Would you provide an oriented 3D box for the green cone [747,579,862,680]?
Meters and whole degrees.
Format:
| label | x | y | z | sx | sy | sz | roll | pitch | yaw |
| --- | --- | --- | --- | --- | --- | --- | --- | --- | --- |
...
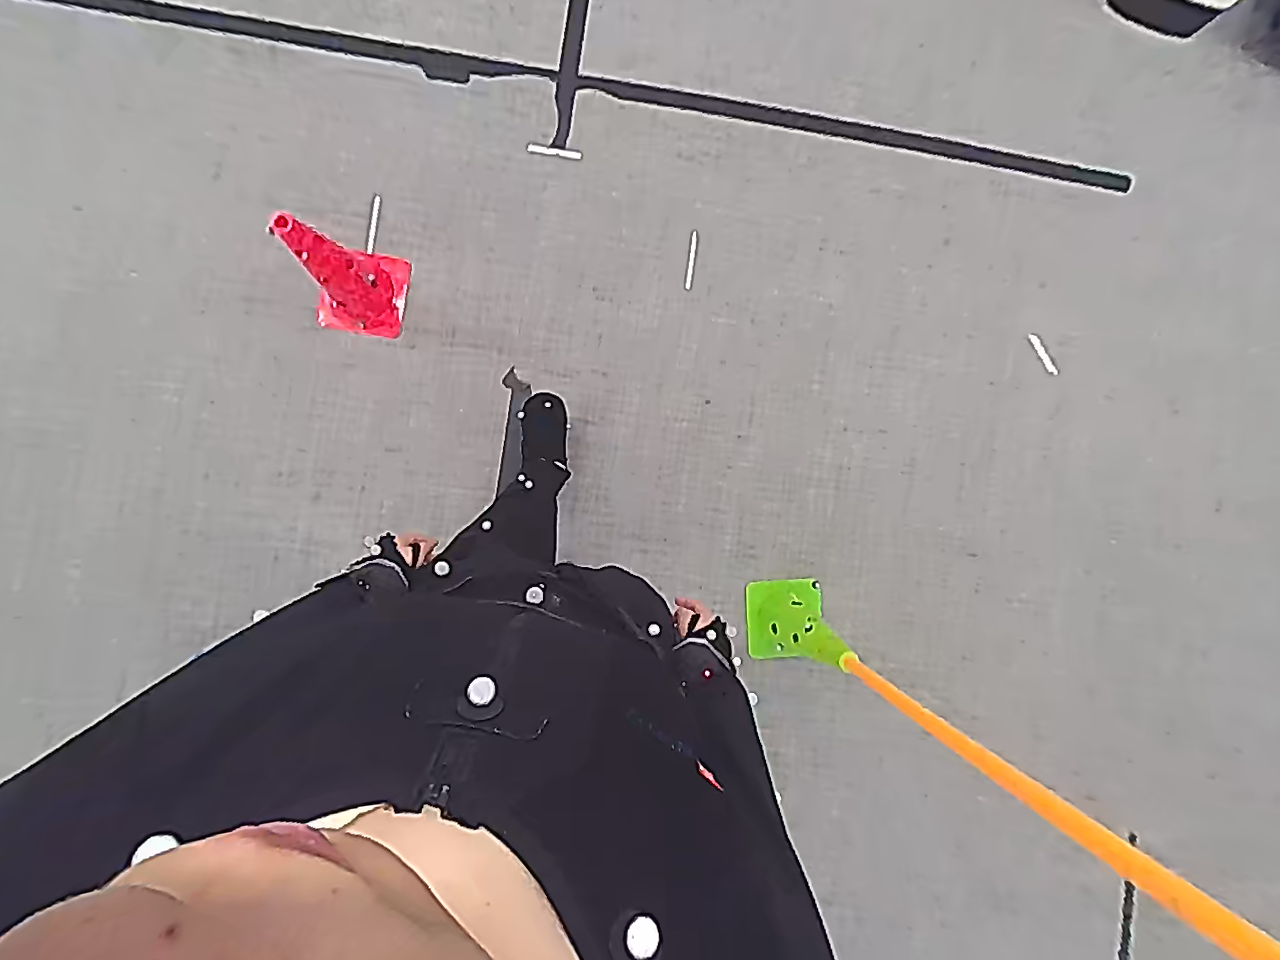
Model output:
| label | x | y | z | sx | sy | sz | roll | pitch | yaw |
| --- | --- | --- | --- | --- | --- | --- | --- | --- | --- |
| green cone | 0.393 | 0.363 | 1.228 | 0.200 | 0.368 | 0.202 | -3 | 91 | -5 |
